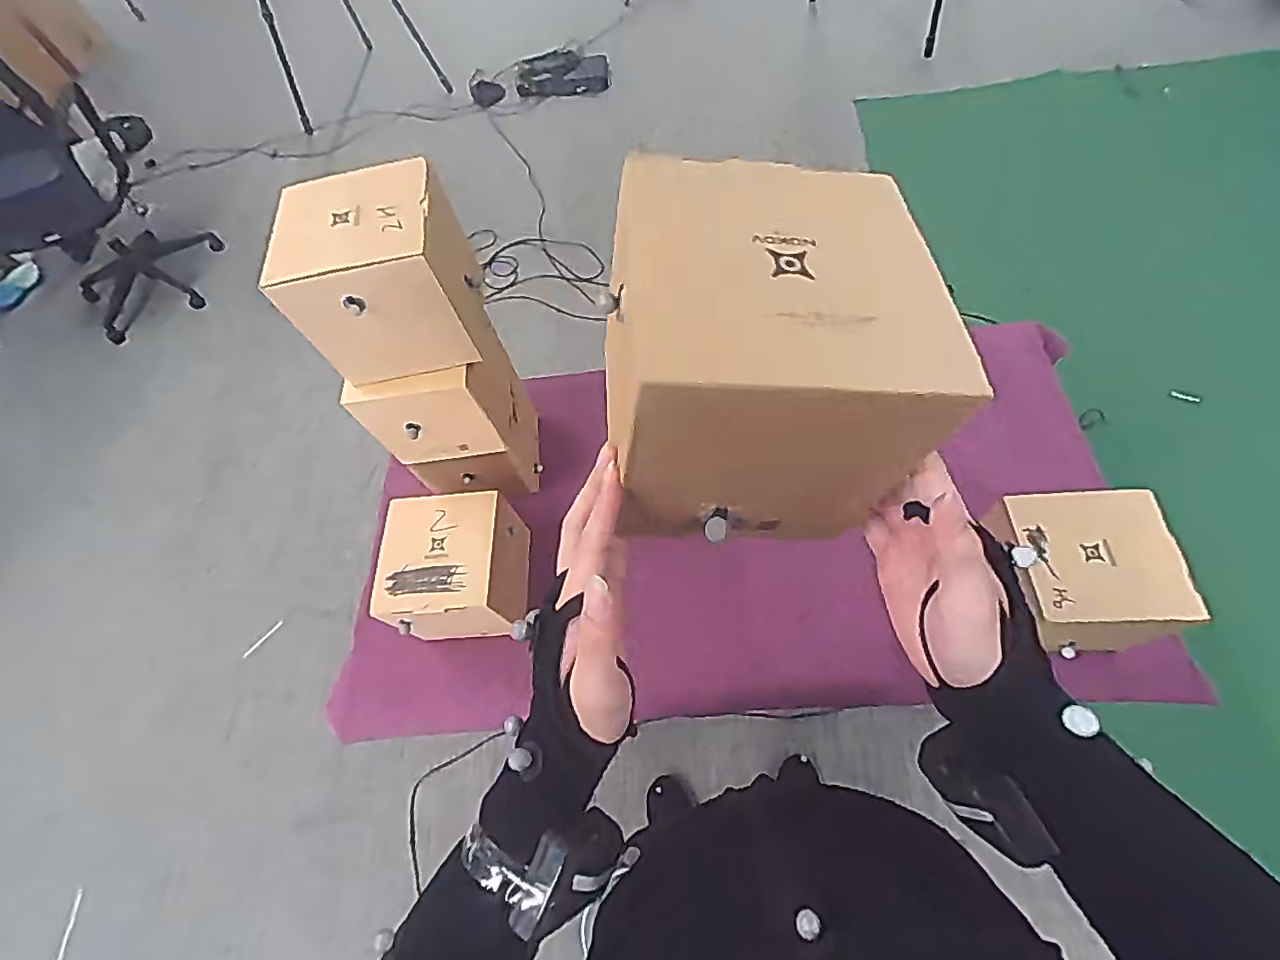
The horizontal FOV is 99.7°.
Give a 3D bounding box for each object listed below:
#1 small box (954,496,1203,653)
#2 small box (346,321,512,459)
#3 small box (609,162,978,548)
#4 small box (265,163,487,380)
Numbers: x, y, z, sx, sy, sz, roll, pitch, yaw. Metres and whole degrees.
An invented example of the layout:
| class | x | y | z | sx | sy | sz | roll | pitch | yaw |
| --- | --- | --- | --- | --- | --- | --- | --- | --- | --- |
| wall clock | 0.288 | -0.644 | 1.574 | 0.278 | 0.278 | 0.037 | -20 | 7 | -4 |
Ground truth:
| class | x | y | z | sx | sy | sz | roll | pitch | yaw |
| --- | --- | --- | --- | --- | --- | --- | --- | --- | --- |
| small box | 0.560 | 0.131 | 0.723 | 0.179 | 0.176 | 0.168 | -2 | 61 | 7 |
| small box | -0.292 | -0.143 | 0.790 | 0.168 | 0.176 | 0.179 | -7 | 62 | 3 |
| small box | 0.066 | -0.071 | 0.353 | 0.168 | 0.176 | 0.179 | 1 | 58 | -5 |
| small box | -0.300 | -0.242 | 0.656 | 0.179 | 0.176 | 0.168 | -10 | 62 | 1 |
